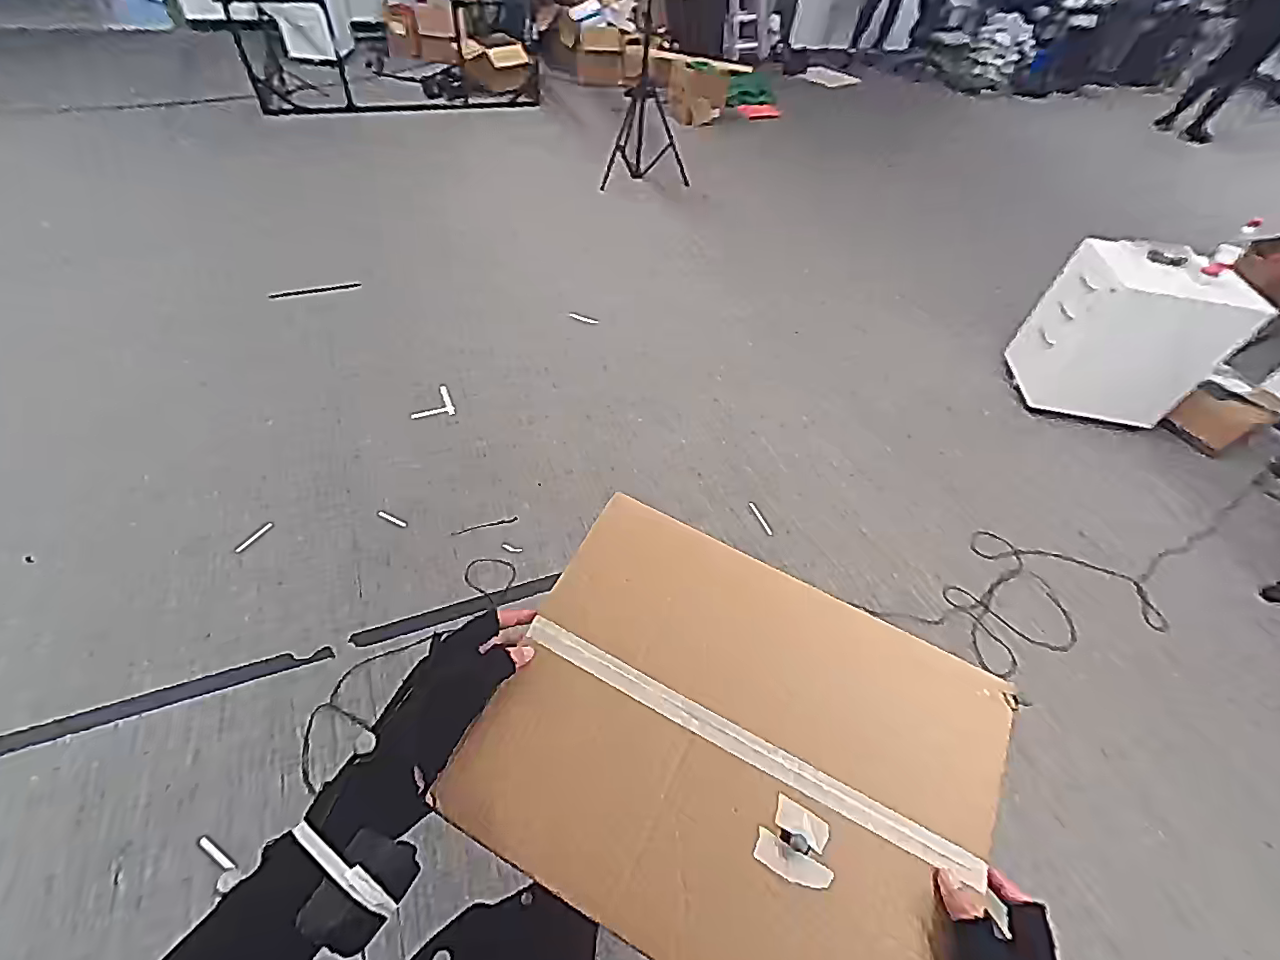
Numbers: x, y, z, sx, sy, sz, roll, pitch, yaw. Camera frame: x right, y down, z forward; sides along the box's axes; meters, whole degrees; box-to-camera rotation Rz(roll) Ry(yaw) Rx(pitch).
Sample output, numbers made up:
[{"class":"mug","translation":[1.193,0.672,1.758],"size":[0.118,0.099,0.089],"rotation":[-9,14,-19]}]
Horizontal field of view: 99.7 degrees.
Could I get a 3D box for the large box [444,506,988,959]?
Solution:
[{"class":"large box","translation":[0.073,0.294,0.600],"size":[0.408,0.320,0.320],"rotation":[26,64,11]}]
